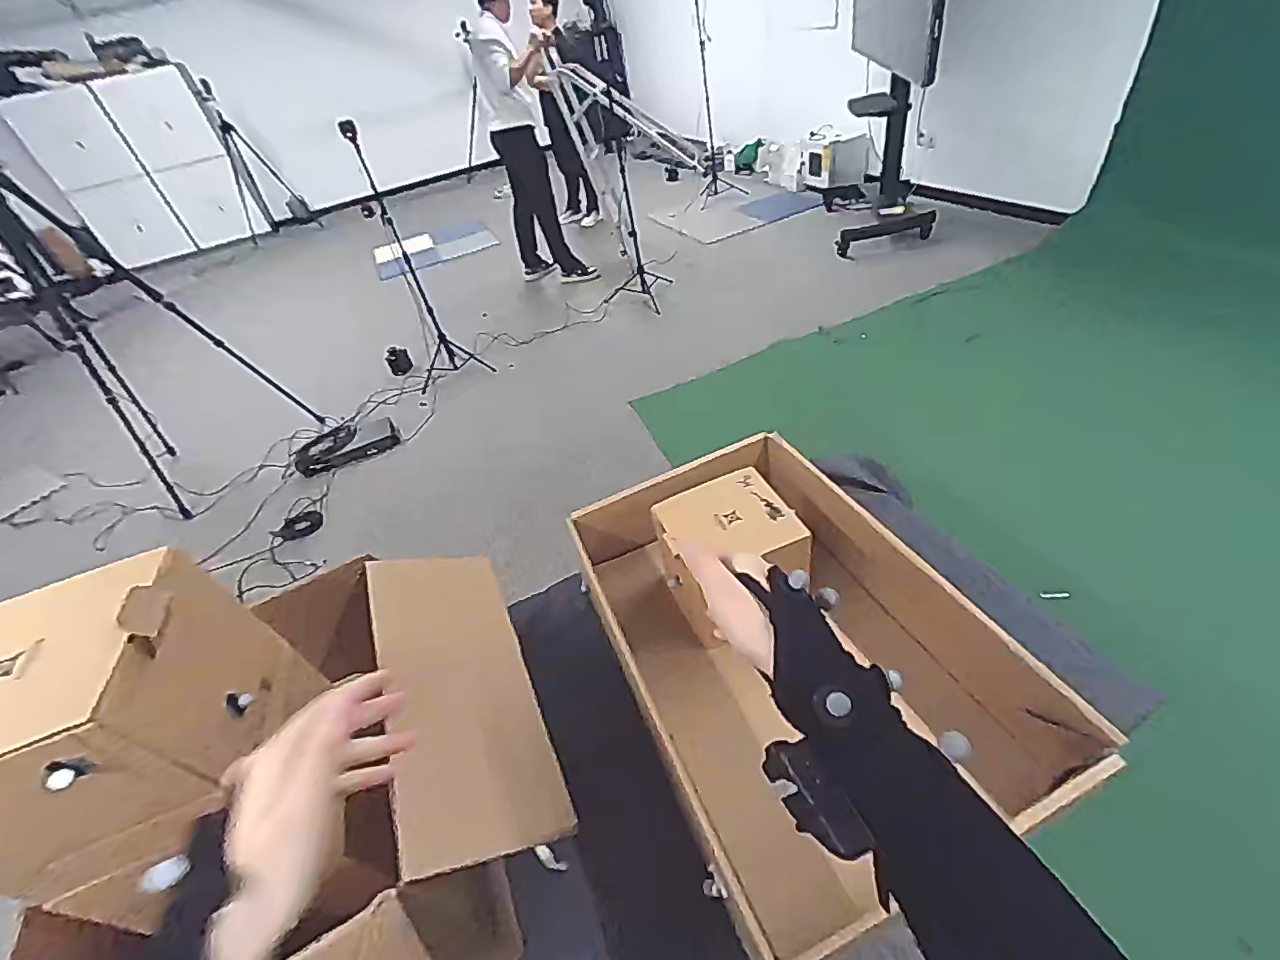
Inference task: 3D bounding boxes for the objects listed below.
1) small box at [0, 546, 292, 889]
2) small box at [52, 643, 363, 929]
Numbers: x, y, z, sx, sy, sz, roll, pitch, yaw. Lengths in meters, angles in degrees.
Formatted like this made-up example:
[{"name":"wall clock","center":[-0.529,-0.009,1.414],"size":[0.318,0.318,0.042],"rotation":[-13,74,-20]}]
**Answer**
[{"name":"small box","center":[-0.428,0.191,0.439],"size":[0.179,0.176,0.168],"rotation":[-20,42,-9]},{"name":"small box","center":[-0.402,0.307,0.549],"size":[0.168,0.176,0.179],"rotation":[-21,44,-10]}]
